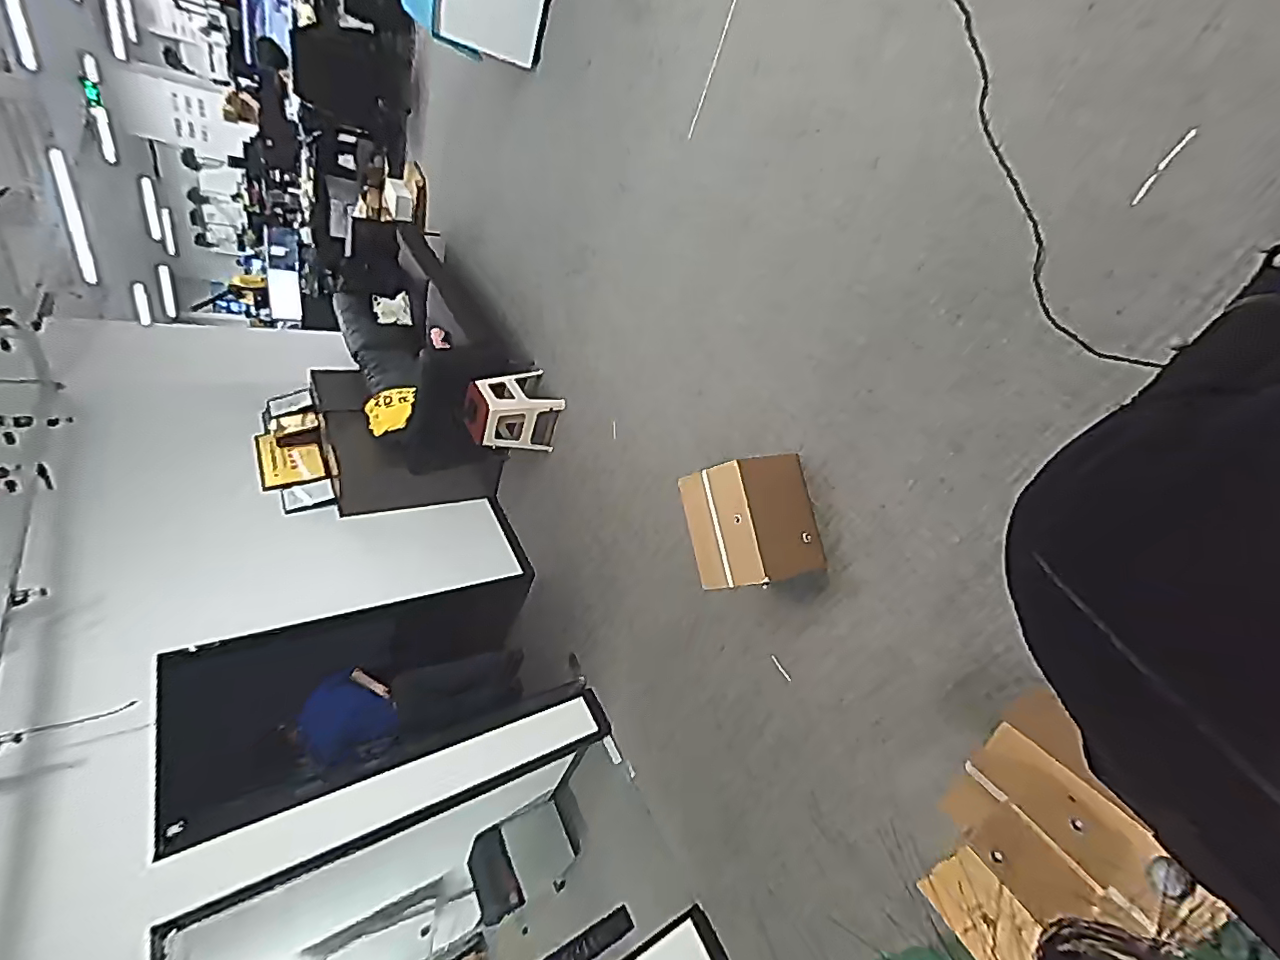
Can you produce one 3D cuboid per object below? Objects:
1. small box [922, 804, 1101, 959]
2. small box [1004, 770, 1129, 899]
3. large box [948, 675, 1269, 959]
[{"bbox_3d":[0.651,0.720,0.950,0.179,0.176,0.168,48,131,39],"label":"small box"},{"bbox_3d":[0.785,0.700,1.039,0.168,0.176,0.179,47,131,40],"label":"small box"},{"bbox_3d":[0.991,0.714,1.180,0.408,0.320,0.320,39,127,42],"label":"large box"}]
